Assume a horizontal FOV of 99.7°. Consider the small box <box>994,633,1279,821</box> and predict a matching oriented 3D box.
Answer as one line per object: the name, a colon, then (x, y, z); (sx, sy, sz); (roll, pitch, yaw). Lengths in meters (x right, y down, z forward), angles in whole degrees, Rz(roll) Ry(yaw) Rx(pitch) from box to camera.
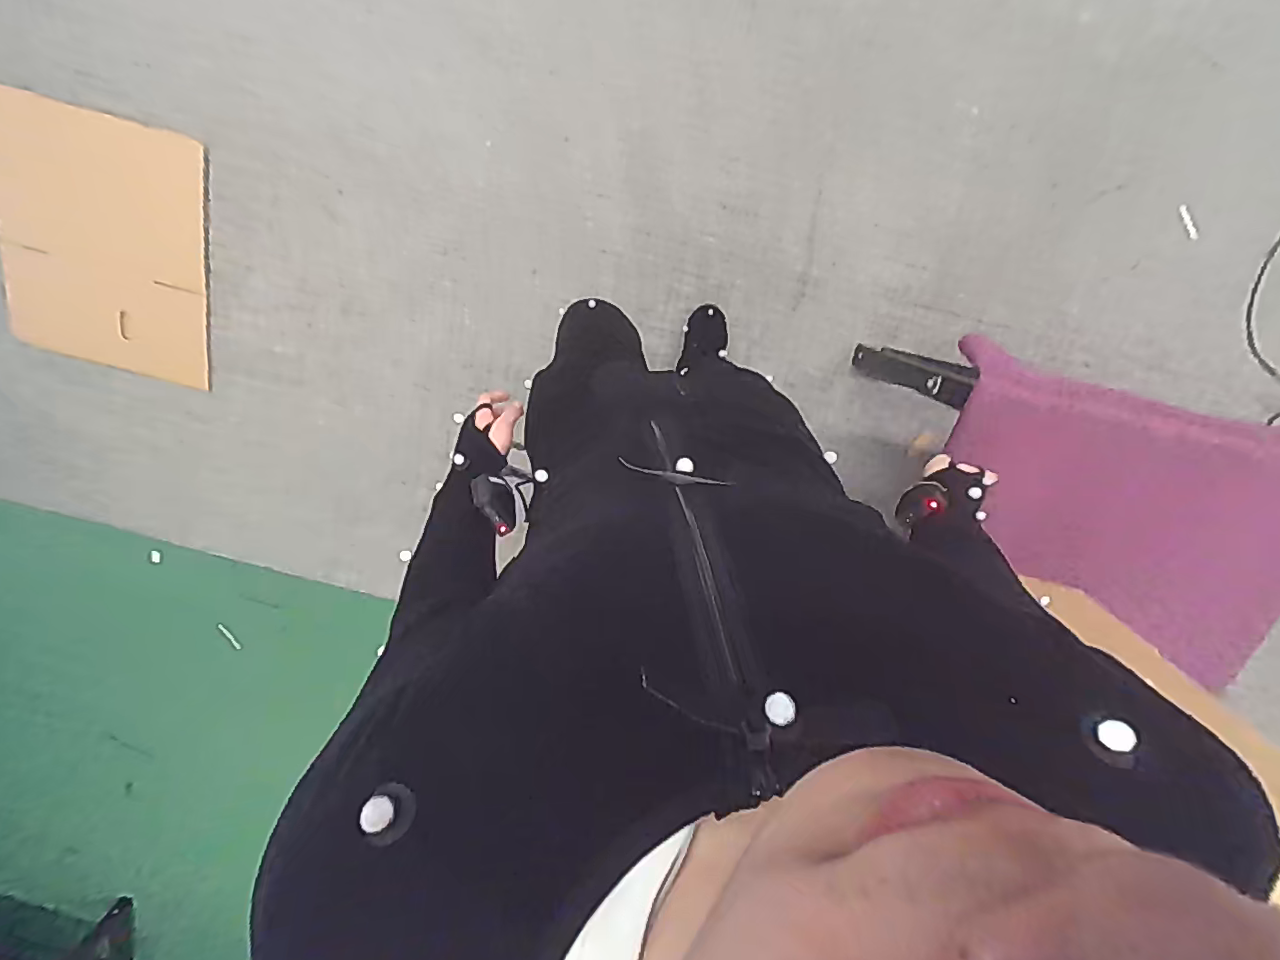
small box: (0.602, 0.321, 0.687); (0.179, 0.176, 0.168); (15, 110, 0)
